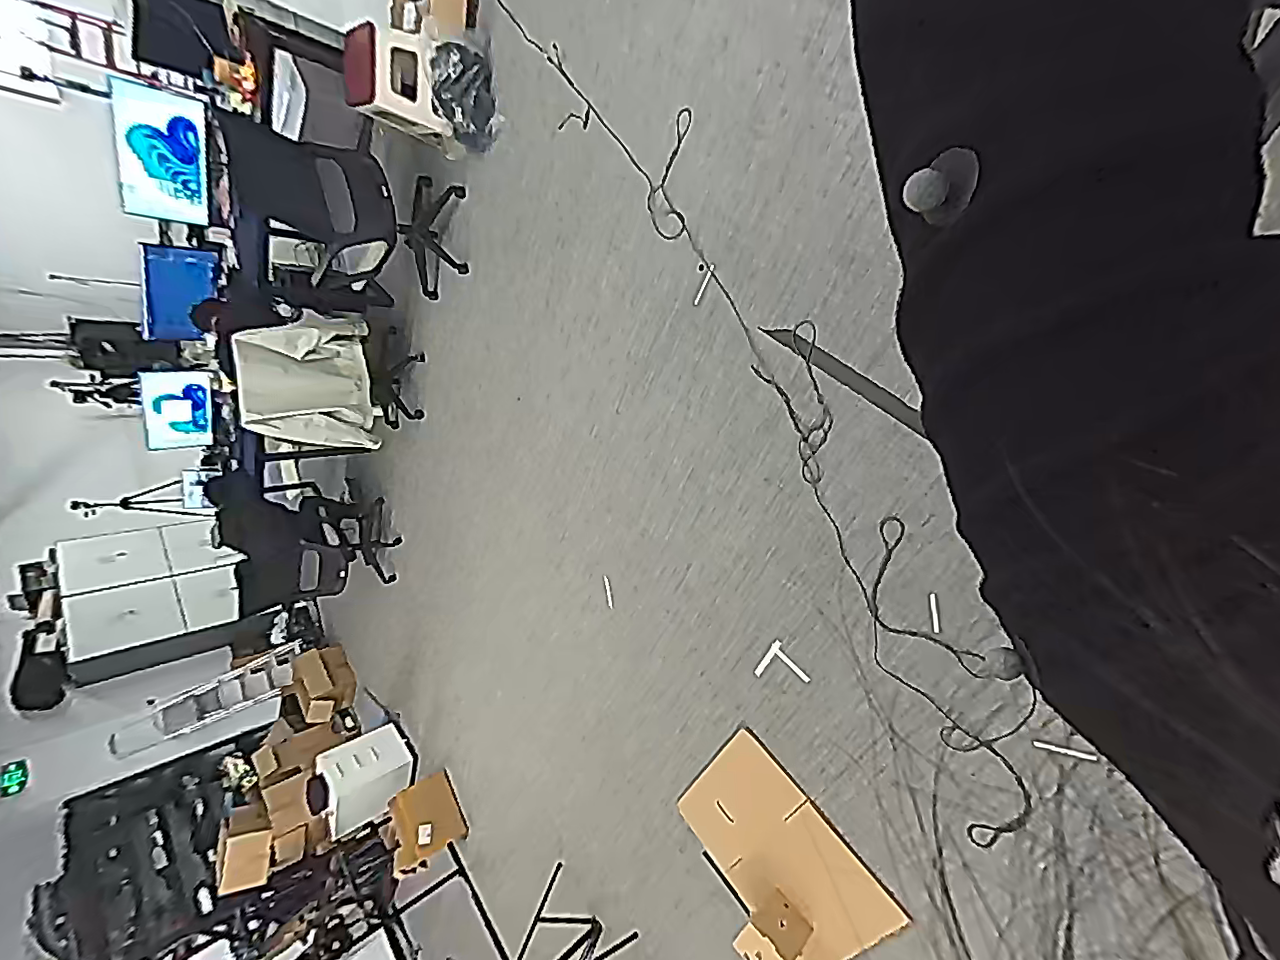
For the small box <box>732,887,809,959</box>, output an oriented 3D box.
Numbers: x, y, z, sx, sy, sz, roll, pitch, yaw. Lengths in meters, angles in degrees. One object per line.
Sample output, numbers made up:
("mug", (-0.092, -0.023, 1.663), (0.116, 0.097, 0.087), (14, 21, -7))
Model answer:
("small box", (0.454, 1.562, 1.858), (0.168, 0.176, 0.179), (37, 121, 33))
